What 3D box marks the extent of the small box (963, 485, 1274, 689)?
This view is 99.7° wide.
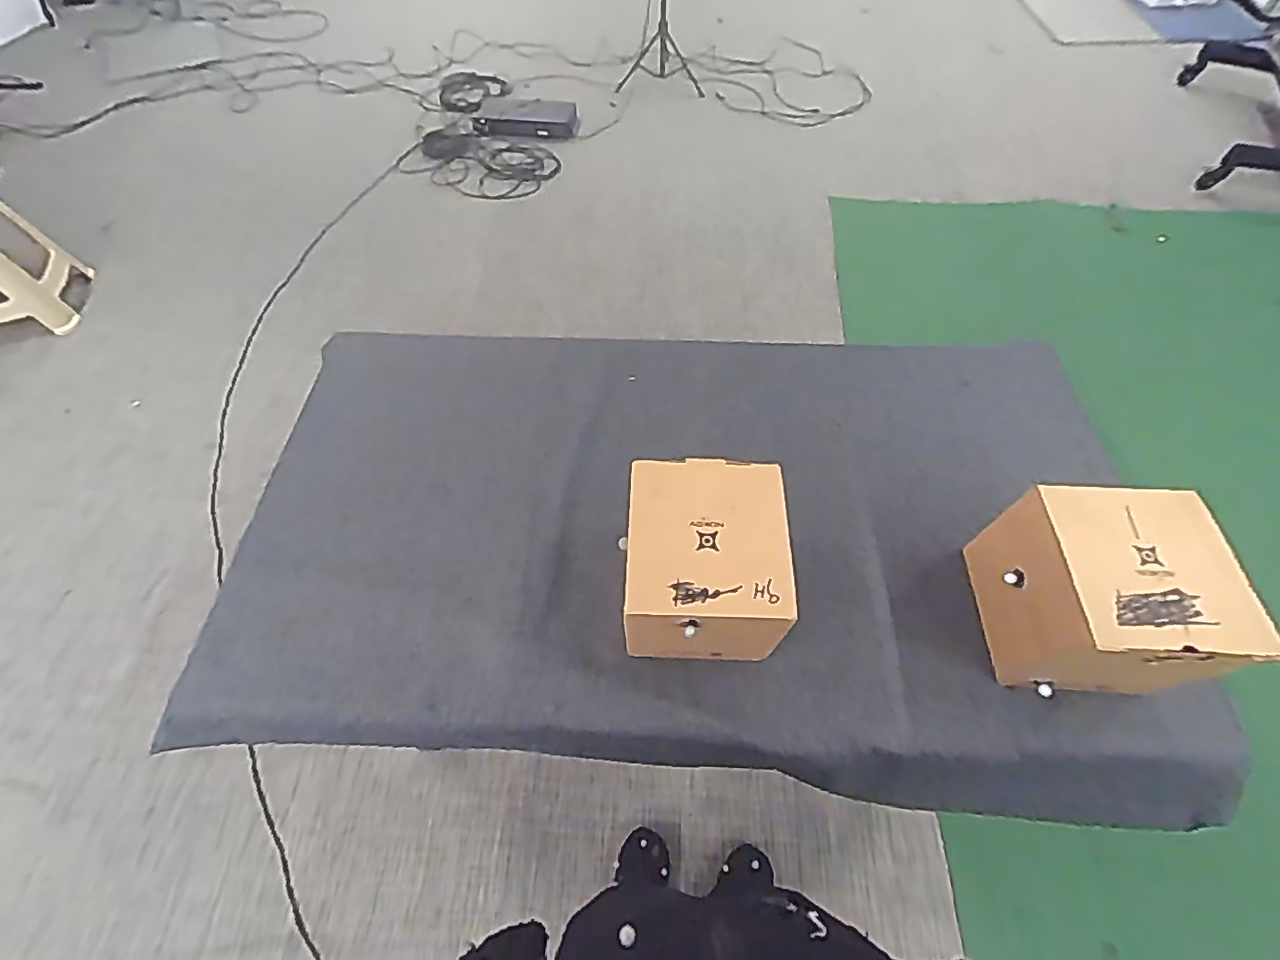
[{"bbox_3d":[0.497,0.125,0.600,0.168,0.176,0.179,3,58,3],"label":"small box"}]

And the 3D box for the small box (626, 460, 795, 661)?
[{"bbox_3d":[0.071,0.097,0.627,0.168,0.176,0.179,2,58,2],"label":"small box"}]
